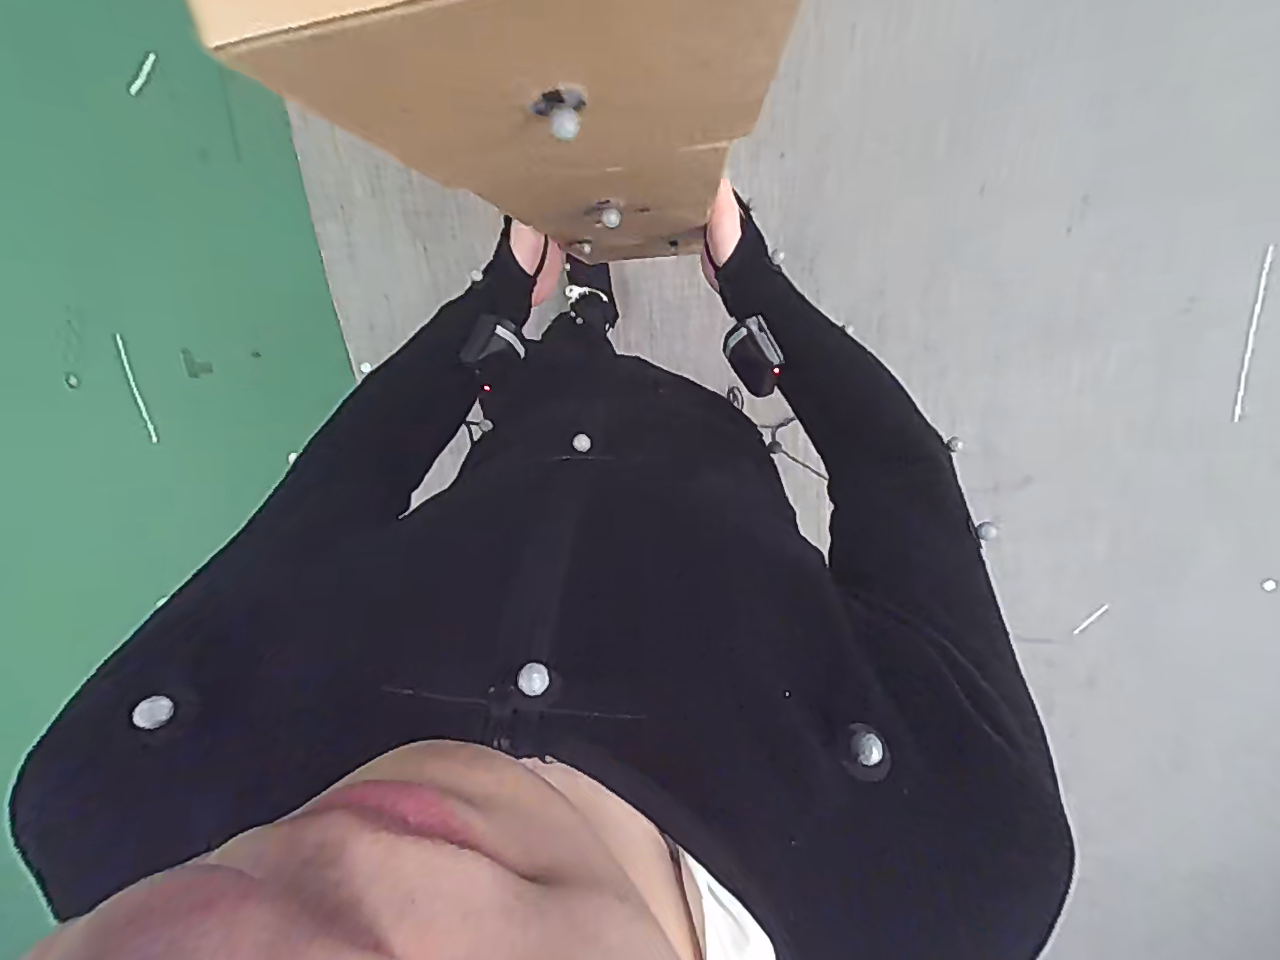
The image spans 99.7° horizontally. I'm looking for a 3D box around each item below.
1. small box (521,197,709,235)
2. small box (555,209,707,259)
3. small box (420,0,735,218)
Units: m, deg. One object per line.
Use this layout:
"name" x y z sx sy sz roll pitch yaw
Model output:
"small box" -0.018 -0.335 0.508 0.168 0.176 0.179 -1 105 4
"small box" -0.009 -0.376 0.667 0.179 0.176 0.168 -3 105 5
"small box" -0.030 -0.286 0.351 0.168 0.176 0.179 -3 106 5
